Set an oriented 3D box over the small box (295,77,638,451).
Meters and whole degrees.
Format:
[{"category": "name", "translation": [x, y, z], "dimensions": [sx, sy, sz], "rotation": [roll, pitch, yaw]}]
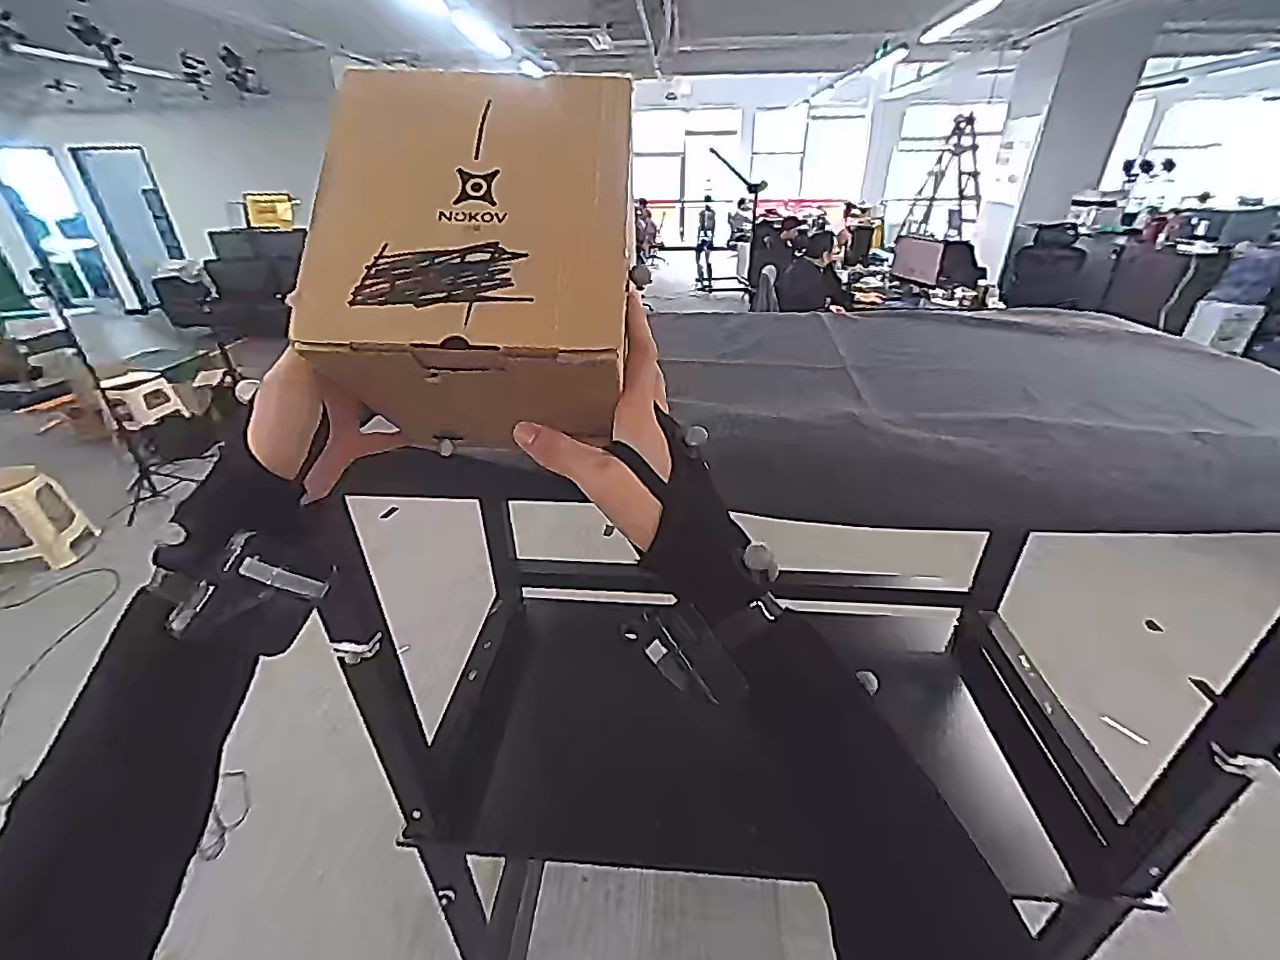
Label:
[{"category": "small box", "translation": [-0.087, -0.124, 0.364], "dimensions": [0.168, 0.176, 0.179], "rotation": [2, 75, 0]}]
